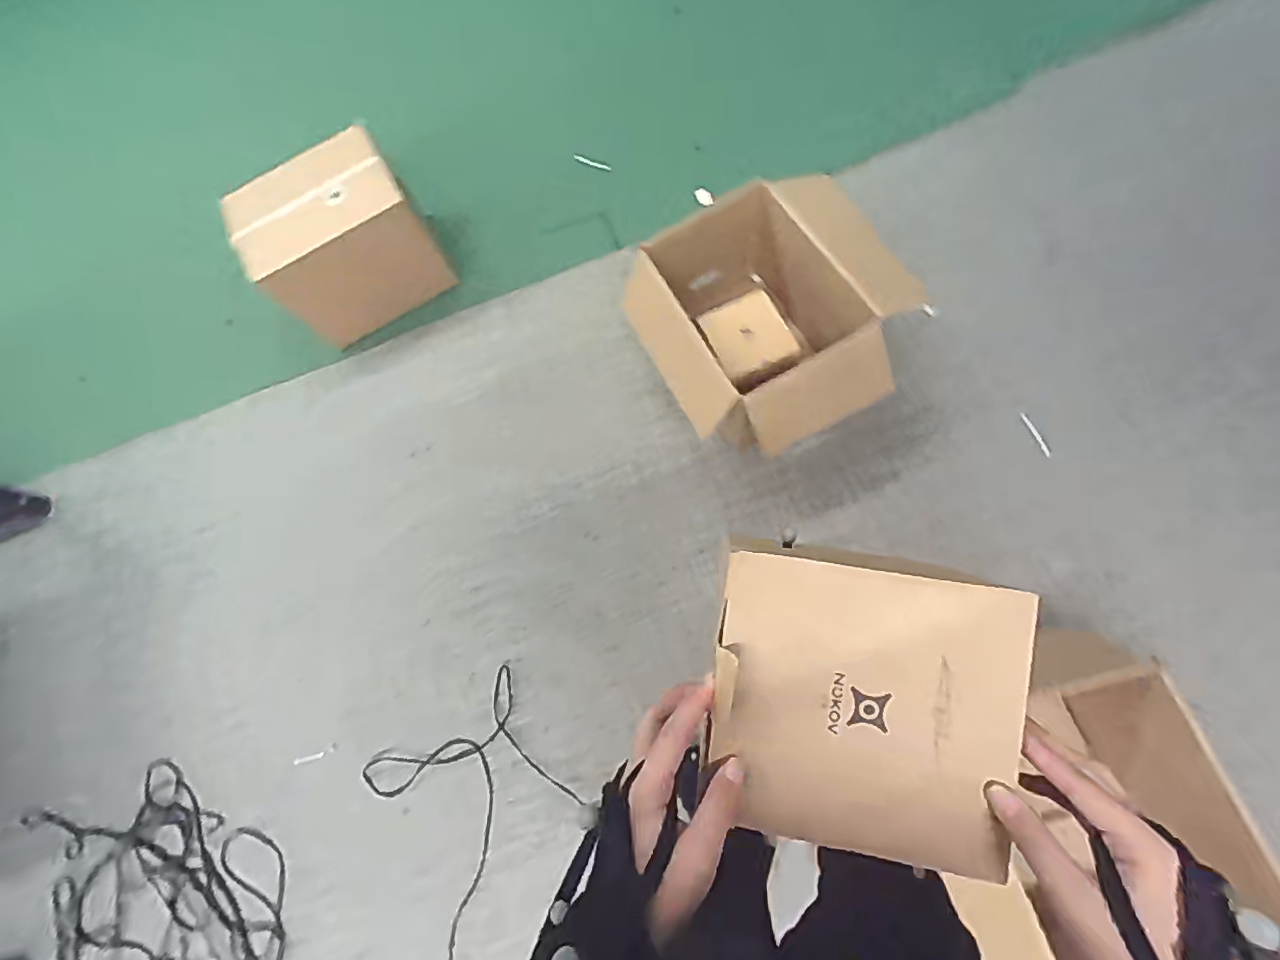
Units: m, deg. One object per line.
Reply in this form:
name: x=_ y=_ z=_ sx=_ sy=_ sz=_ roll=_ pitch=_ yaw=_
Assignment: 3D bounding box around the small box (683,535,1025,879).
small box: x=0.130 y=0.133 z=0.389 sx=0.179 sy=0.176 sz=0.168 roll=7 pitch=89 yaw=6
